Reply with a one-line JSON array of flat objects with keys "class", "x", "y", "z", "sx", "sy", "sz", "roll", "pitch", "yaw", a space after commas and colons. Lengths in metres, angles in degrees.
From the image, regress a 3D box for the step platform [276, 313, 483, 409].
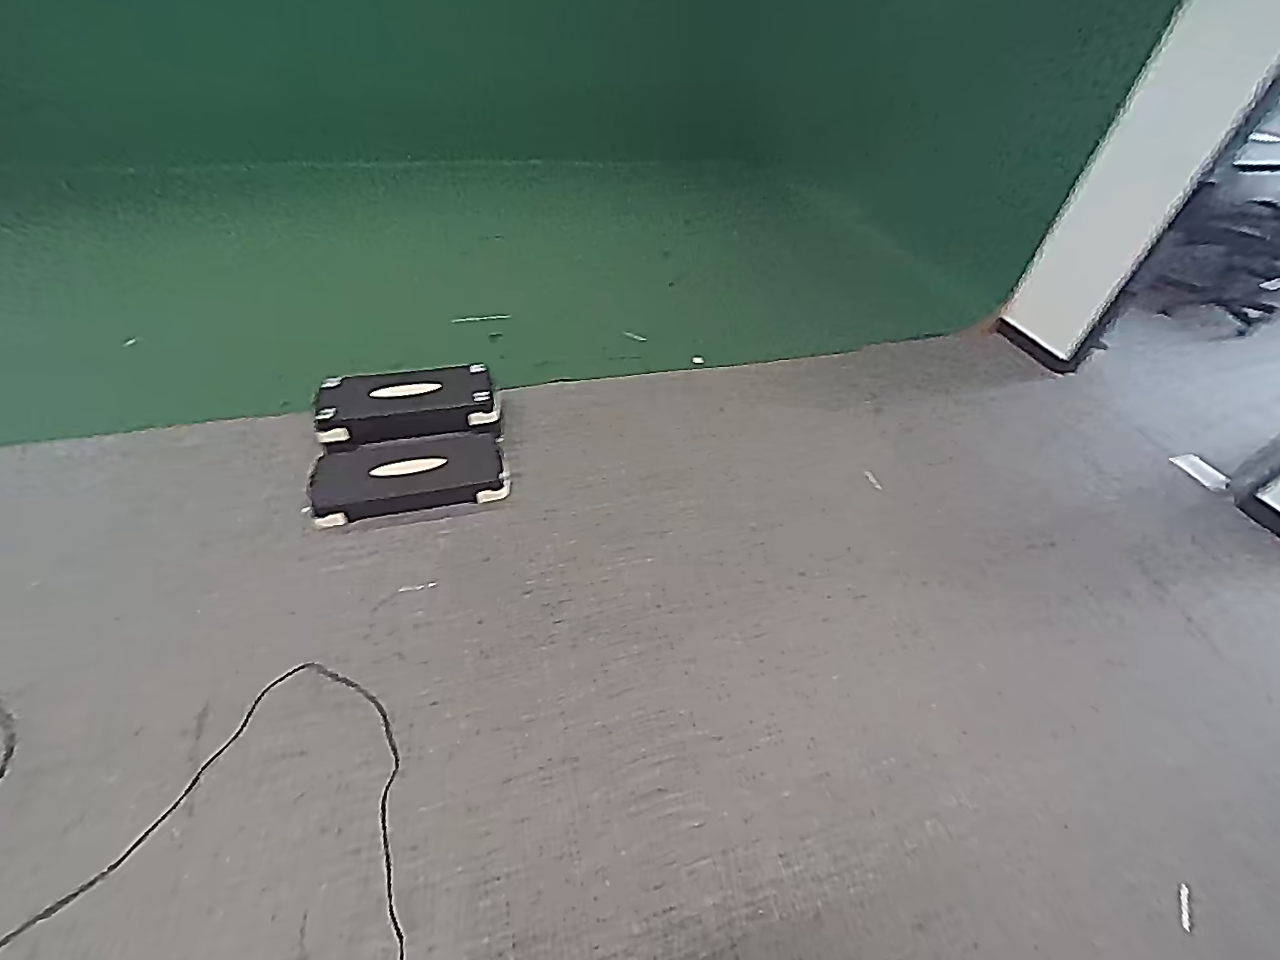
[{"class": "step platform", "x": -0.949, "y": -0.455, "z": 2.043, "sx": 0.684, "sy": 0.204, "sz": 0.286, "roll": -9, "pitch": 48, "yaw": -13}]
